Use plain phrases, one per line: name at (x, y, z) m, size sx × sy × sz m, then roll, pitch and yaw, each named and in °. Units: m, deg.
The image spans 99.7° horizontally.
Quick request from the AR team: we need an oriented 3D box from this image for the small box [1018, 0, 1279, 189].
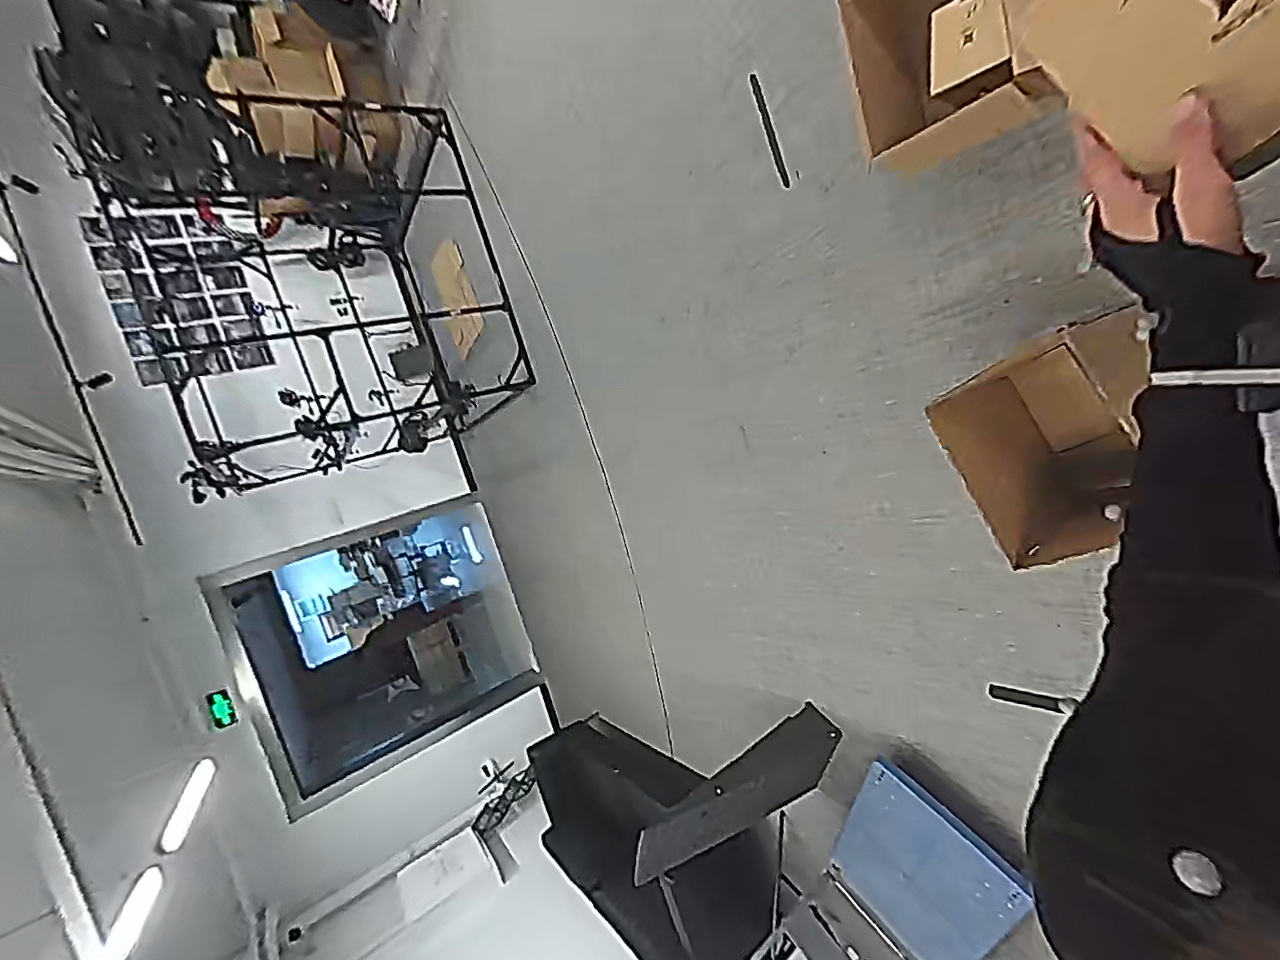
small box at (0.403, -0.338, 0.360) m, size 0.179 × 0.176 × 0.168 m, roll 53°, pitch 143°, yaw 1°
